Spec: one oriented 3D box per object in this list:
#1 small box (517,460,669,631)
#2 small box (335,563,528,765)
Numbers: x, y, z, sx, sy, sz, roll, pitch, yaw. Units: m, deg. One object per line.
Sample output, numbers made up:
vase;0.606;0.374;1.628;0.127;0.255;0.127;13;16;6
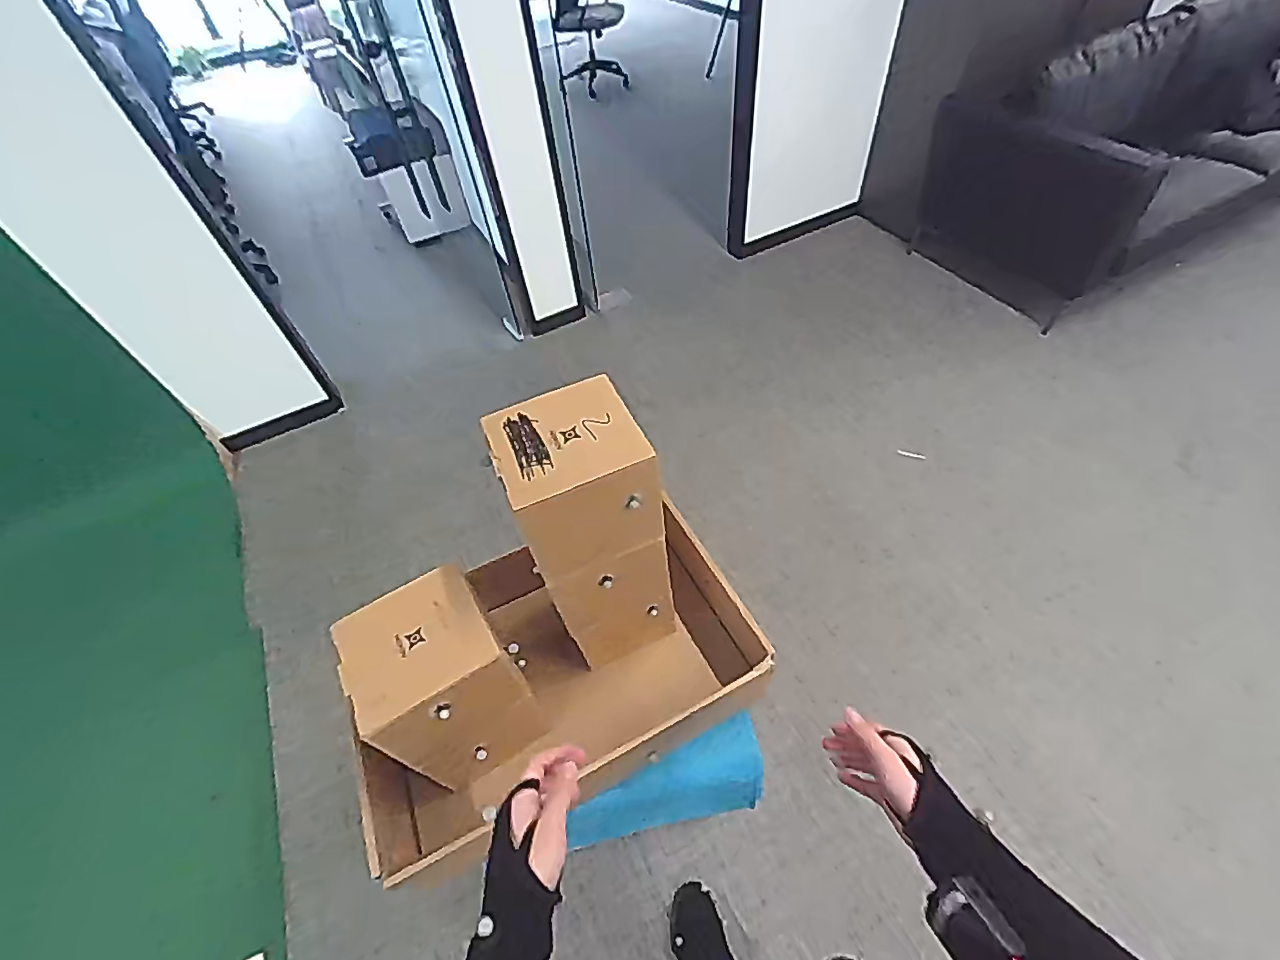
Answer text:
small box;-0.067;0.105;0.835;0.179;0.176;0.168;-21;53;-11
small box;-0.276;0.254;0.738;0.179;0.176;0.168;-27;53;-18
